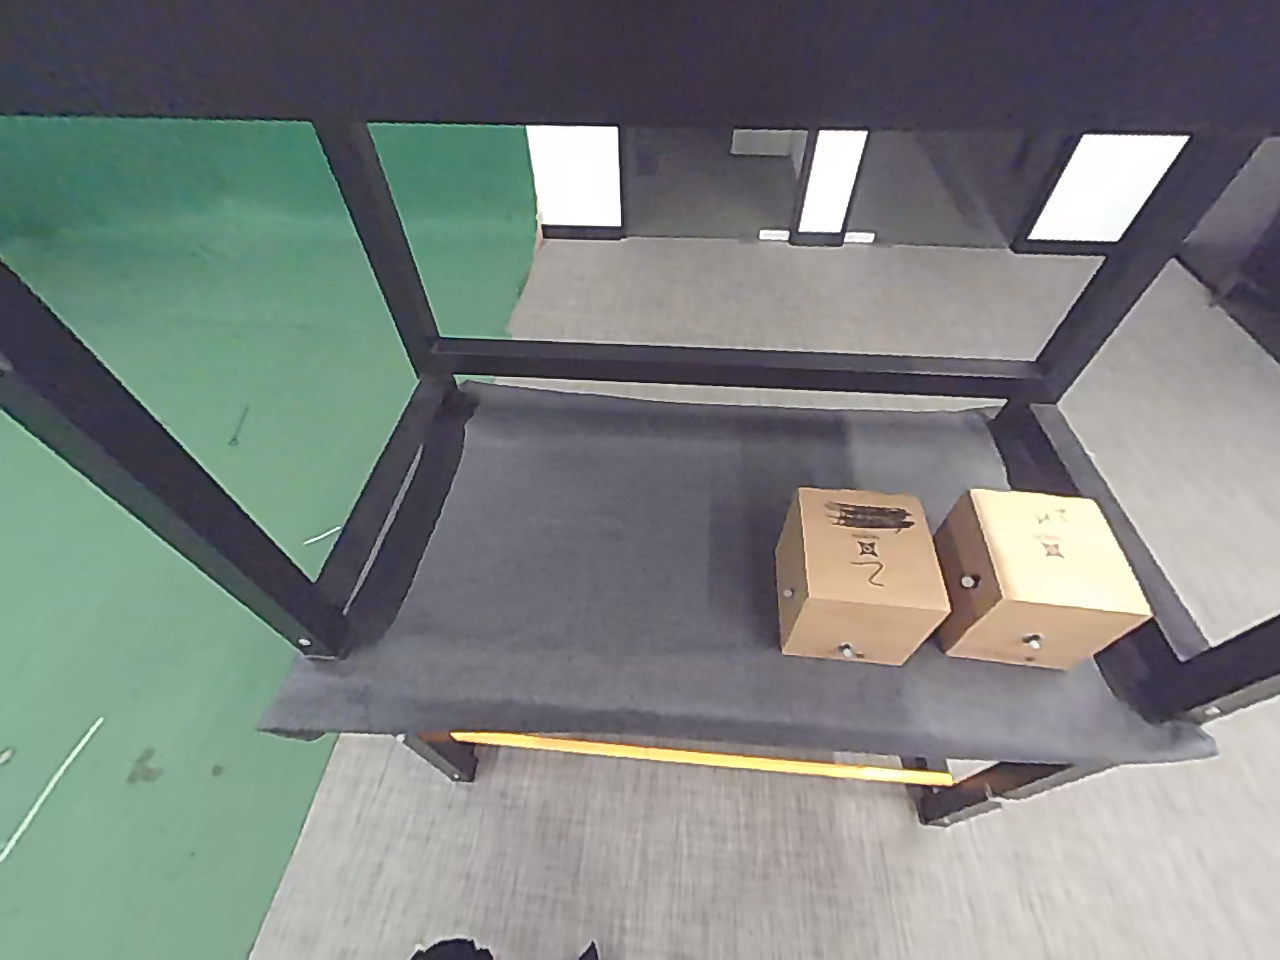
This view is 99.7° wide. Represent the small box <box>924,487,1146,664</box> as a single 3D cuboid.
[{"bbox_3d":[0.520,0.134,0.747,0.168,0.176,0.179,6,50,6],"label":"small box"}]
